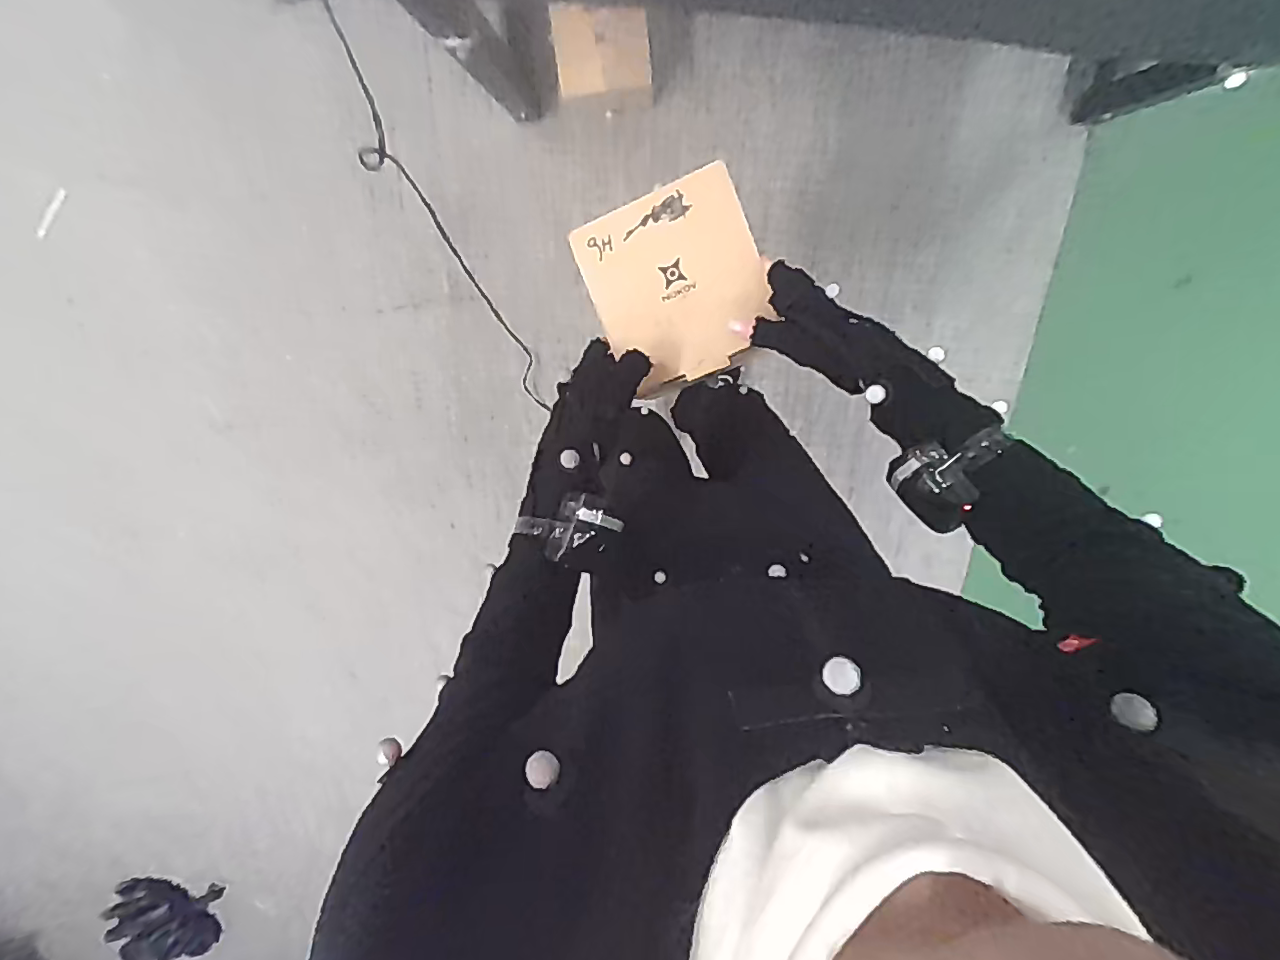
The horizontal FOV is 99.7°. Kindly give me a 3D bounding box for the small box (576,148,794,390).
[{"bbox_3d":[0.054,-0.209,0.591,0.168,0.176,0.179,-21,95,11],"label":"small box"}]
